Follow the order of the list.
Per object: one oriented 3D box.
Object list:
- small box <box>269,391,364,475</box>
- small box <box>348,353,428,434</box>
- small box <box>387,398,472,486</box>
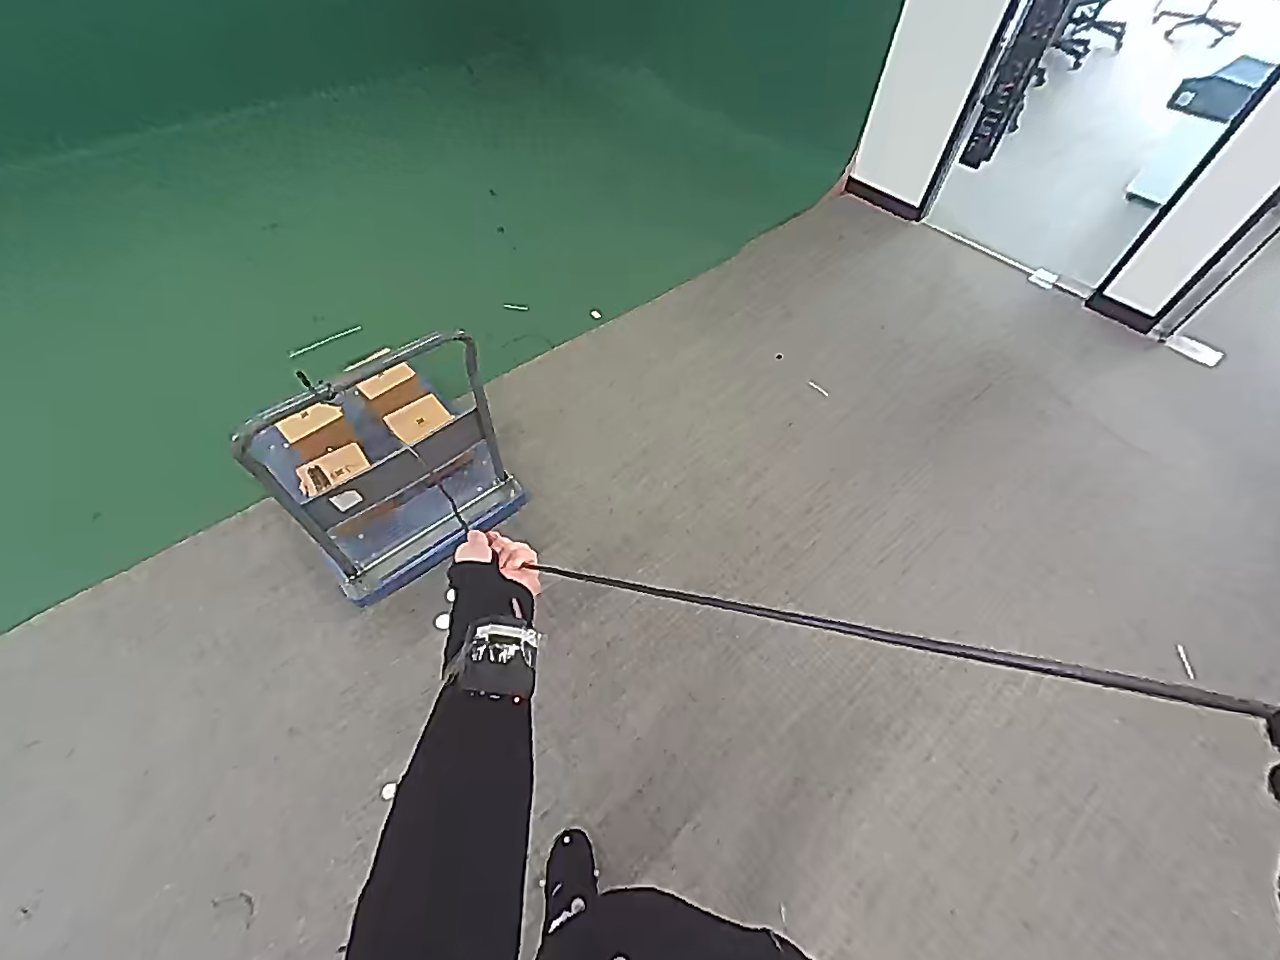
[{"bbox_3d":[-1.006,-0.140,1.697,0.168,0.176,0.179,-38,64,-25],"label":"small box"},{"bbox_3d":[-0.829,-0.284,1.803,0.168,0.176,0.179,-39,65,-24],"label":"small box"},{"bbox_3d":[-0.652,-0.115,1.689,0.168,0.176,0.179,-34,63,-23],"label":"small box"}]
